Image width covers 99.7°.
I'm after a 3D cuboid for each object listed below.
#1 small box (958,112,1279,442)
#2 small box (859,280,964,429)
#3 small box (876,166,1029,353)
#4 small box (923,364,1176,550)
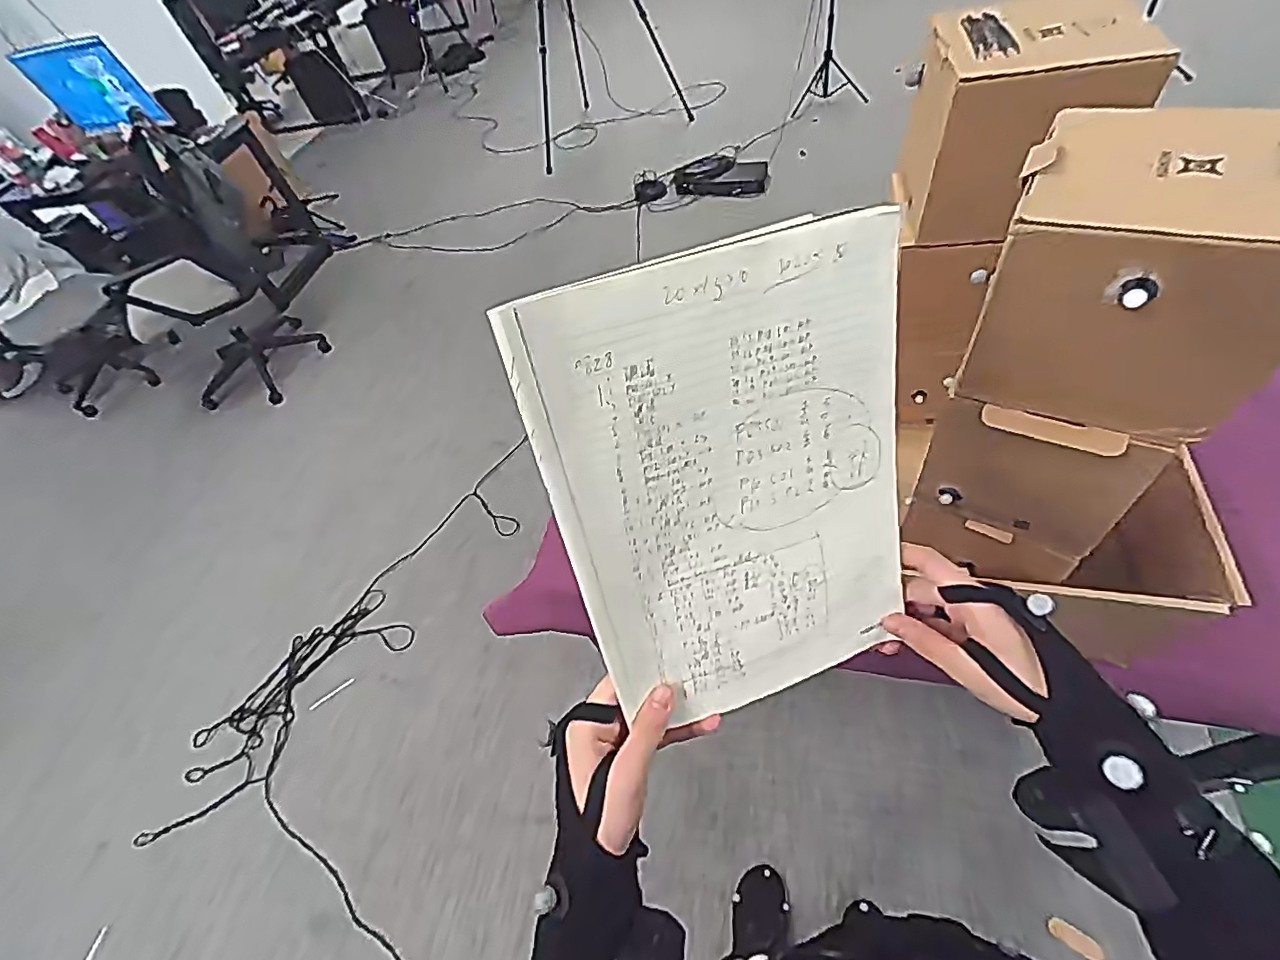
[{"bbox_3d":[0.374,-0.154,0.416,0.179,0.176,0.168,21,61,28],"label":"small box"},{"bbox_3d":[0.443,-0.194,0.850,0.168,0.176,0.179,5,57,17],"label":"small box"},{"bbox_3d":[0.417,-0.283,0.717,0.179,0.176,0.168,3,56,15],"label":"small box"},{"bbox_3d":[0.406,-0.059,0.545,0.168,0.176,0.179,23,61,29],"label":"small box"}]
